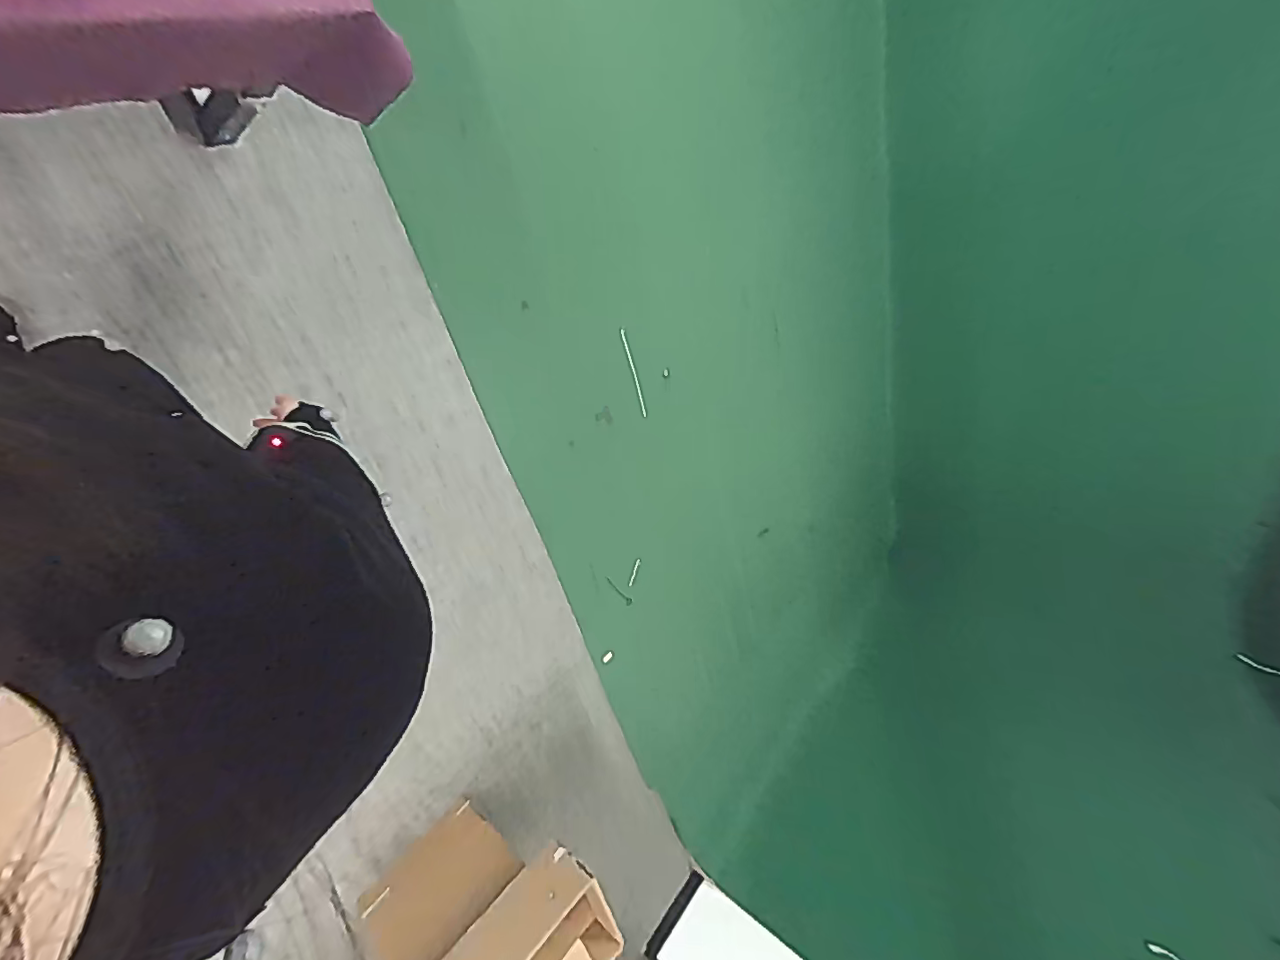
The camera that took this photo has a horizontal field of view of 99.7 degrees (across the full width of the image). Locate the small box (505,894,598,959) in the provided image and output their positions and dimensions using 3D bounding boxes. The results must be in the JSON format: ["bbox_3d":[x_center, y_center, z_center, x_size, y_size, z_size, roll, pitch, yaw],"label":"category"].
[{"bbox_3d":[-0.246,1.319,1.510,0.168,0.176,0.179,-35,122,-35],"label":"small box"}]
